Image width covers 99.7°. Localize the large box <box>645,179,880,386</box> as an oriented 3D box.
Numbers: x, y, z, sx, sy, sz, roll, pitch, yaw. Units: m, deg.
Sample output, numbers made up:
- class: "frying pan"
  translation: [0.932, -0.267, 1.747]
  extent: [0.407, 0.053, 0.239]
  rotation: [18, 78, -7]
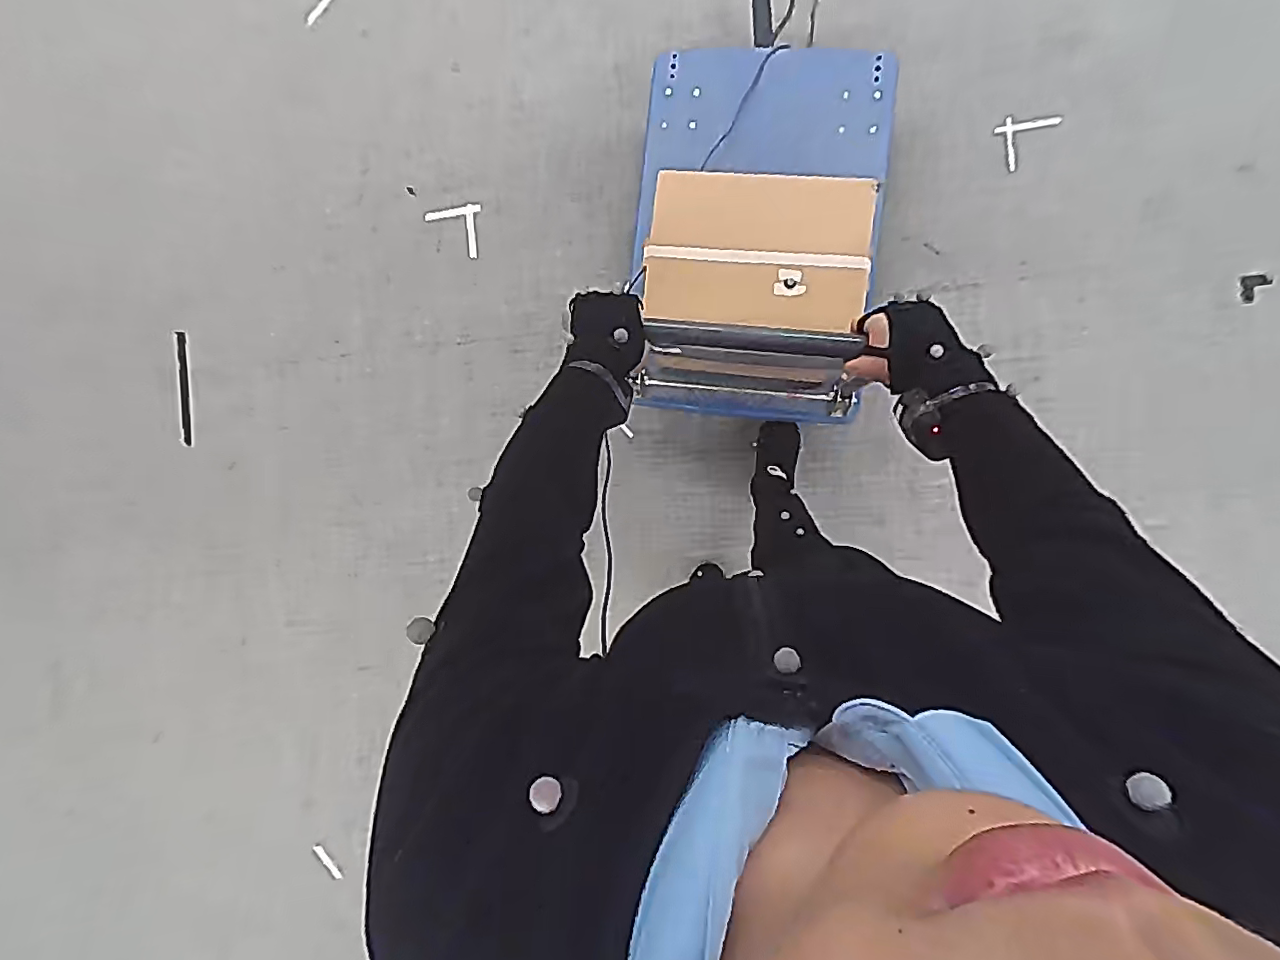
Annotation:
- class: "large box"
  translation: [0.235, -0.392, 1.138]
  extent: [0.408, 0.320, 0.320]
  rotation: [7, 91, 7]
